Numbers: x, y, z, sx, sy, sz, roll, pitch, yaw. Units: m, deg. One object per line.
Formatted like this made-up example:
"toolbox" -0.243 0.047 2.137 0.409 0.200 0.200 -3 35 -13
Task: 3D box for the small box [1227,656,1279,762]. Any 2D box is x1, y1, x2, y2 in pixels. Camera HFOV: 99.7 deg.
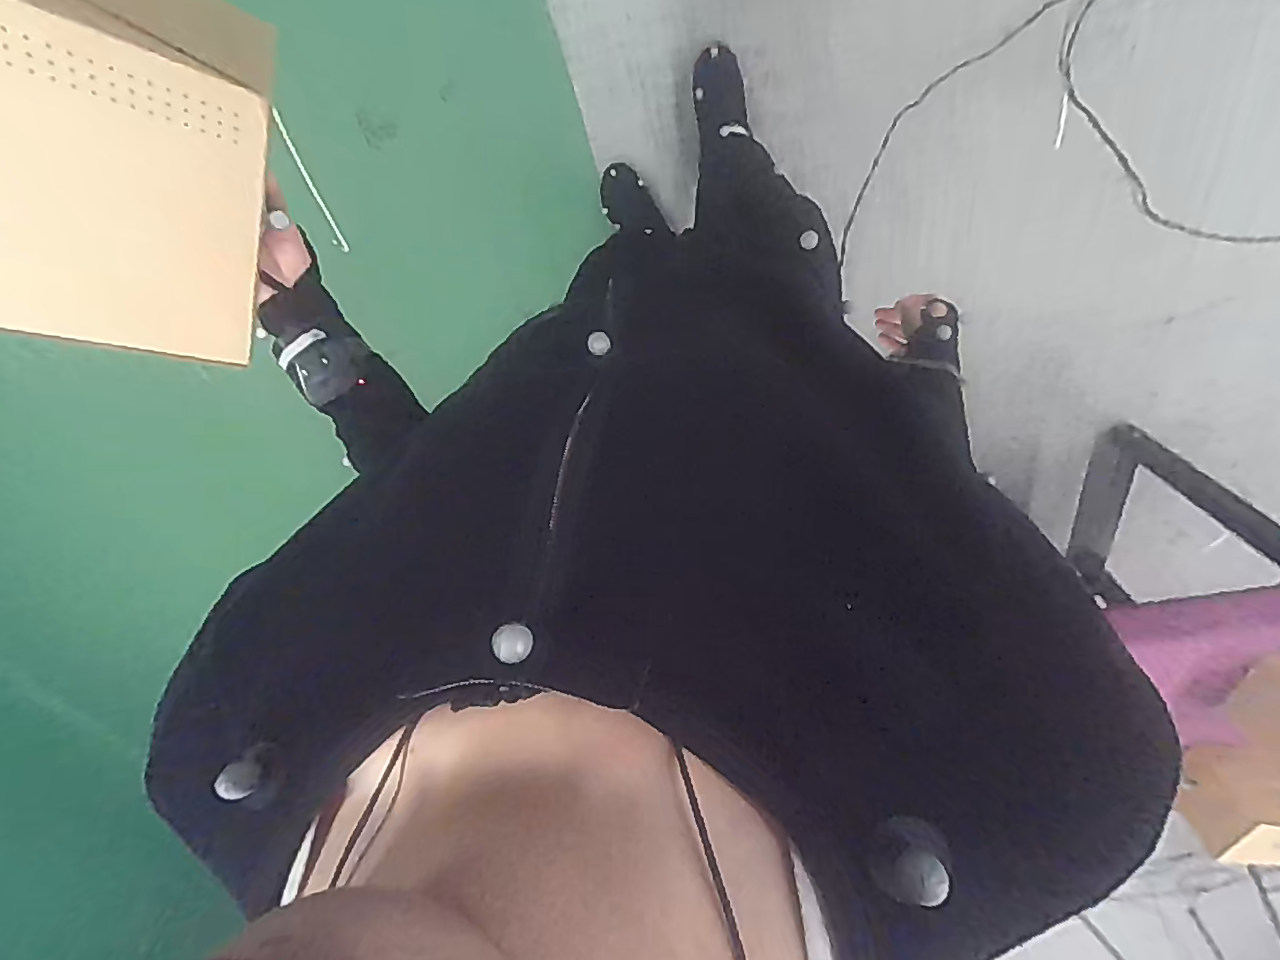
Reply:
"small box" 1.263 0.438 0.991 0.168 0.176 0.179 -4 124 5

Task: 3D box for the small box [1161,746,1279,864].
"small box" 1.312 0.699 1.169 0.179 0.176 0.168 0 123 3
